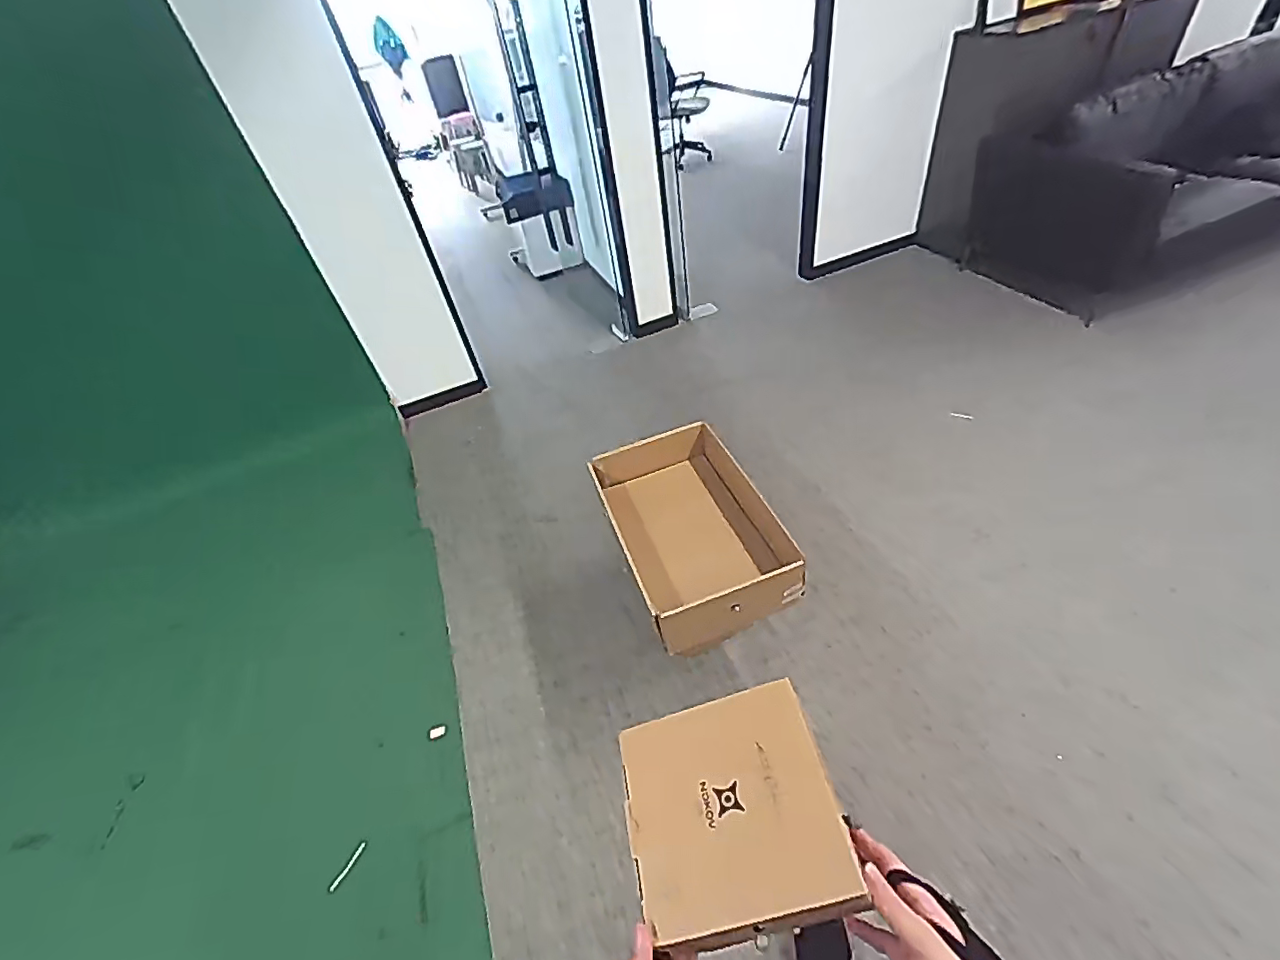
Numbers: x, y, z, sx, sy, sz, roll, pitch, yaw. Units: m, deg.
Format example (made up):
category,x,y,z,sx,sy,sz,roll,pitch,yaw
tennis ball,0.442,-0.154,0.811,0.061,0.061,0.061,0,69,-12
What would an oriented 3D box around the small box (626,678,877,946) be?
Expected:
category,x,y,z,sx,sy,sz,roll,pitch,yaw
small box,0.106,0.320,0.513,0.179,0.176,0.168,-21,45,8
